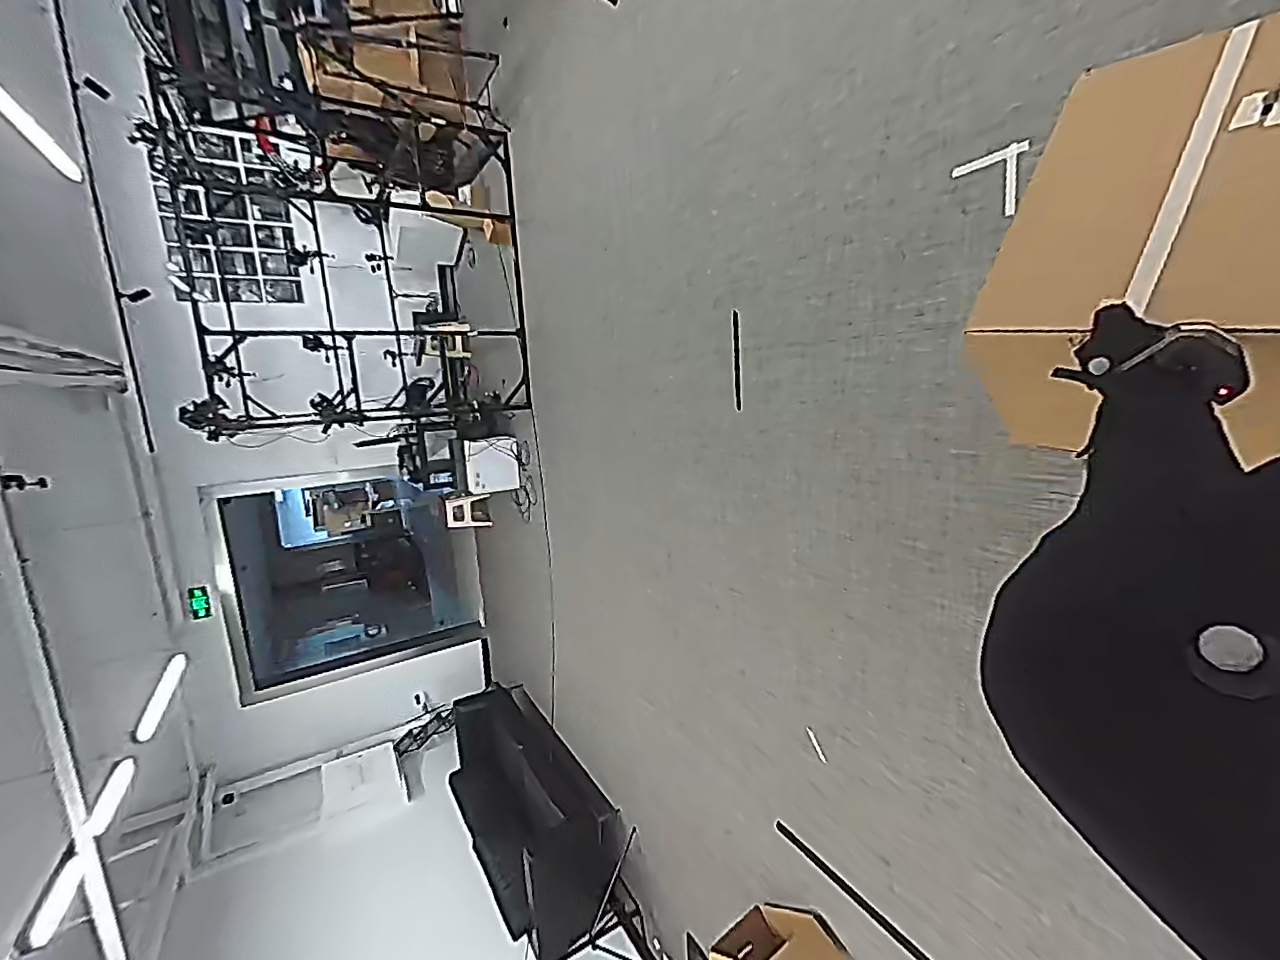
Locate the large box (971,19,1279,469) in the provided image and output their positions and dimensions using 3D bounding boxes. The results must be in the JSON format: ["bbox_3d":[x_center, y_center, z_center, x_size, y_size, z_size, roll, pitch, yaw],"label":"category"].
[{"bbox_3d":[0.697,-0.270,0.684,0.320,0.320,0.408,20,80,51],"label":"large box"}]
